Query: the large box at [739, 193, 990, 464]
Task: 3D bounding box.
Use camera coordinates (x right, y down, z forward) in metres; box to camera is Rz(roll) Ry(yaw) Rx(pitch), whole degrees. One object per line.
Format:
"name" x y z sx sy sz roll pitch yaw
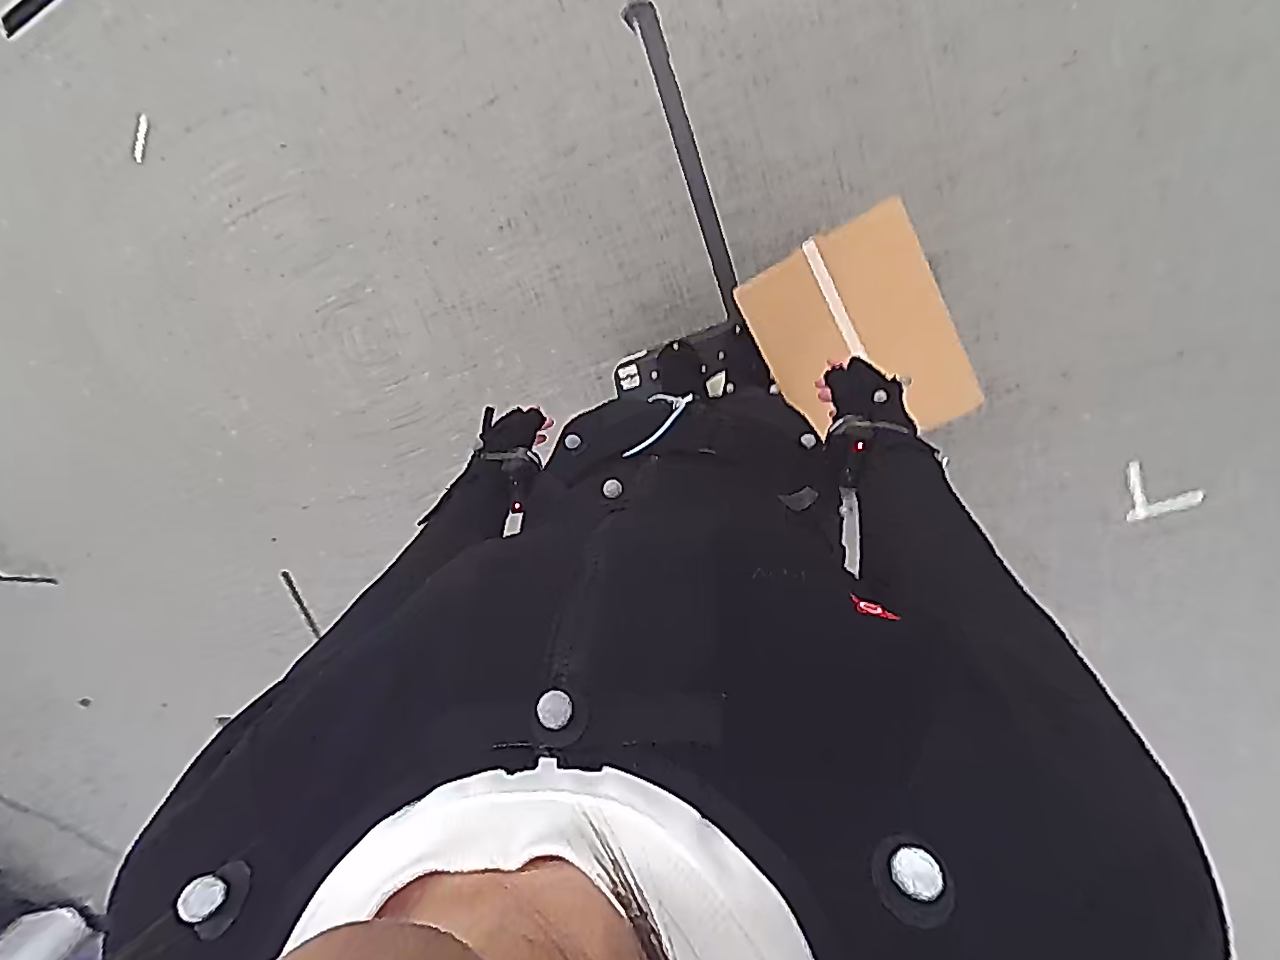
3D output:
"large box" 0.446 -0.311 1.132 0.320 0.320 0.408 -25 102 24
